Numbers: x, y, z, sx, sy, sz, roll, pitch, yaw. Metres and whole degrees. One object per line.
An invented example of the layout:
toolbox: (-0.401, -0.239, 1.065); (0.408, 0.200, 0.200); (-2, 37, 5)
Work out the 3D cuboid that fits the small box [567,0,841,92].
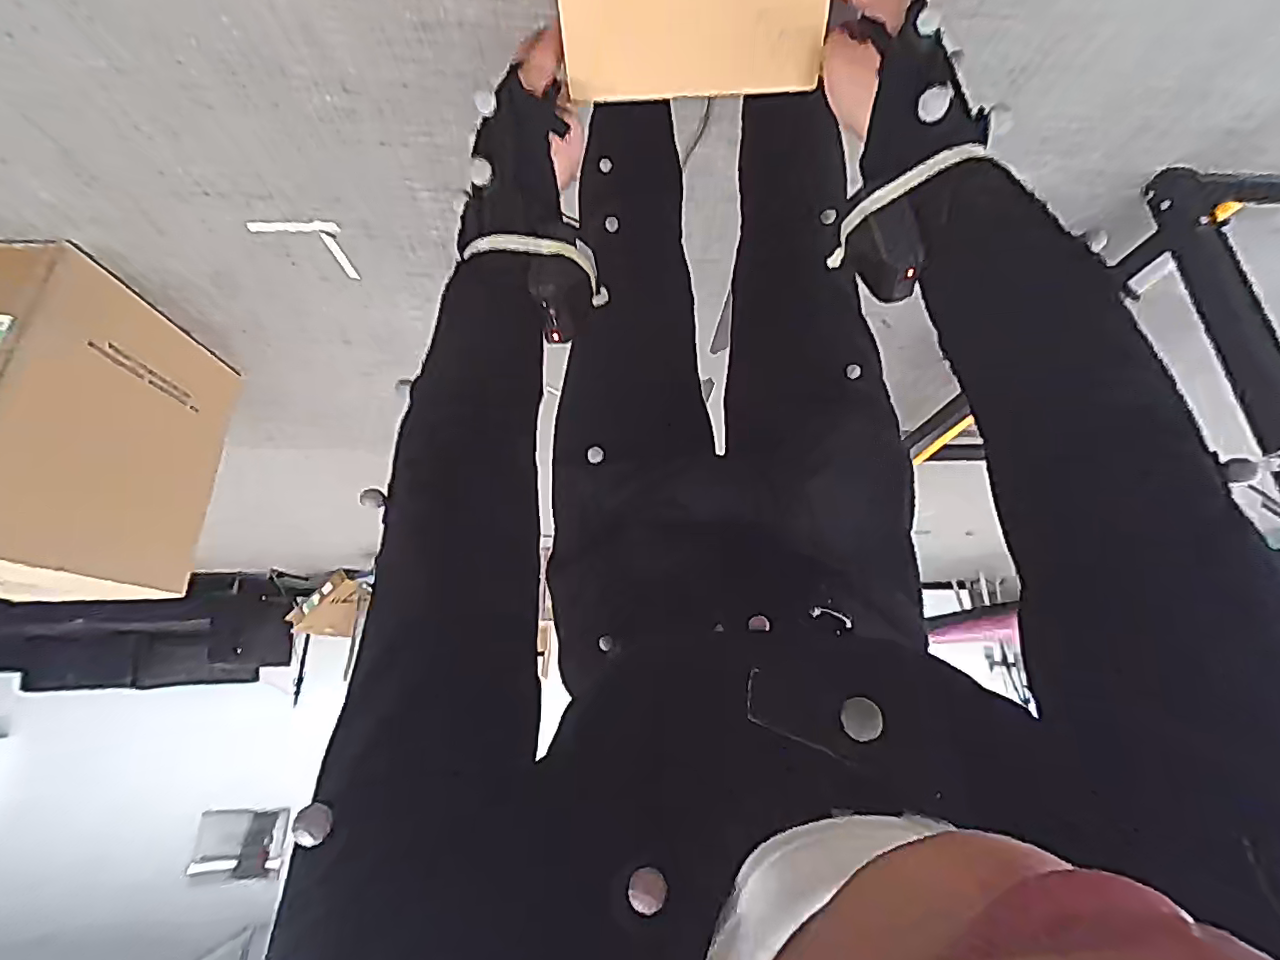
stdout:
small box: (0.042, -0.373, 0.341); (0.168, 0.176, 0.179); (1, 137, 6)
